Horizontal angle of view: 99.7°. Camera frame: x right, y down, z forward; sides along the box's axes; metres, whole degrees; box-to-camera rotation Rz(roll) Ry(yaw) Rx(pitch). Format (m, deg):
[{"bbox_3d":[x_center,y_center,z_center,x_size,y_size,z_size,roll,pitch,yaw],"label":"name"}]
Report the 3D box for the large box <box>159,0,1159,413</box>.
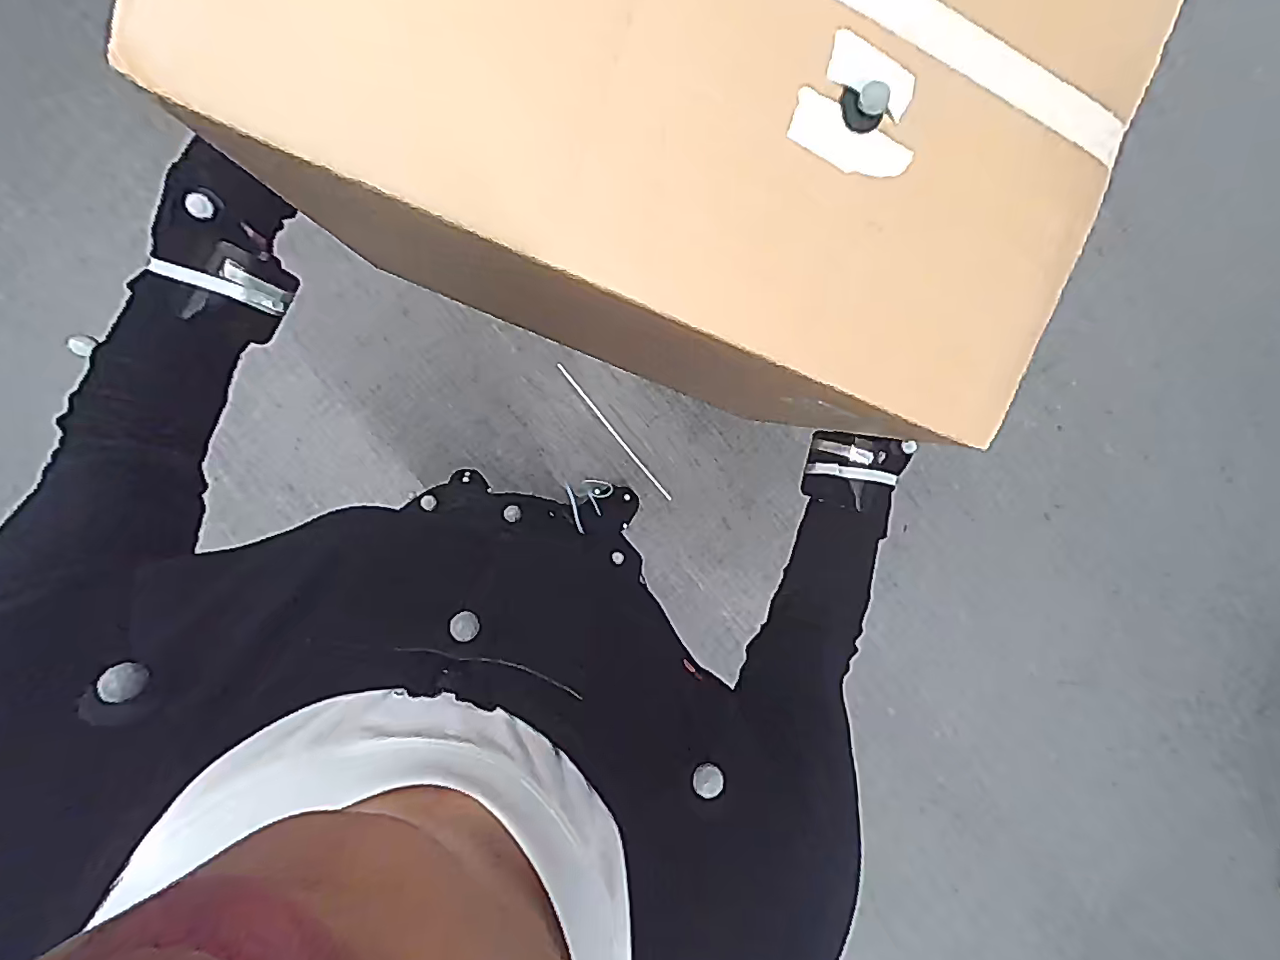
[{"bbox_3d":[0.022,-0.261,0.376,0.408,0.320,0.320,19,96,-14],"label":"large box"}]
